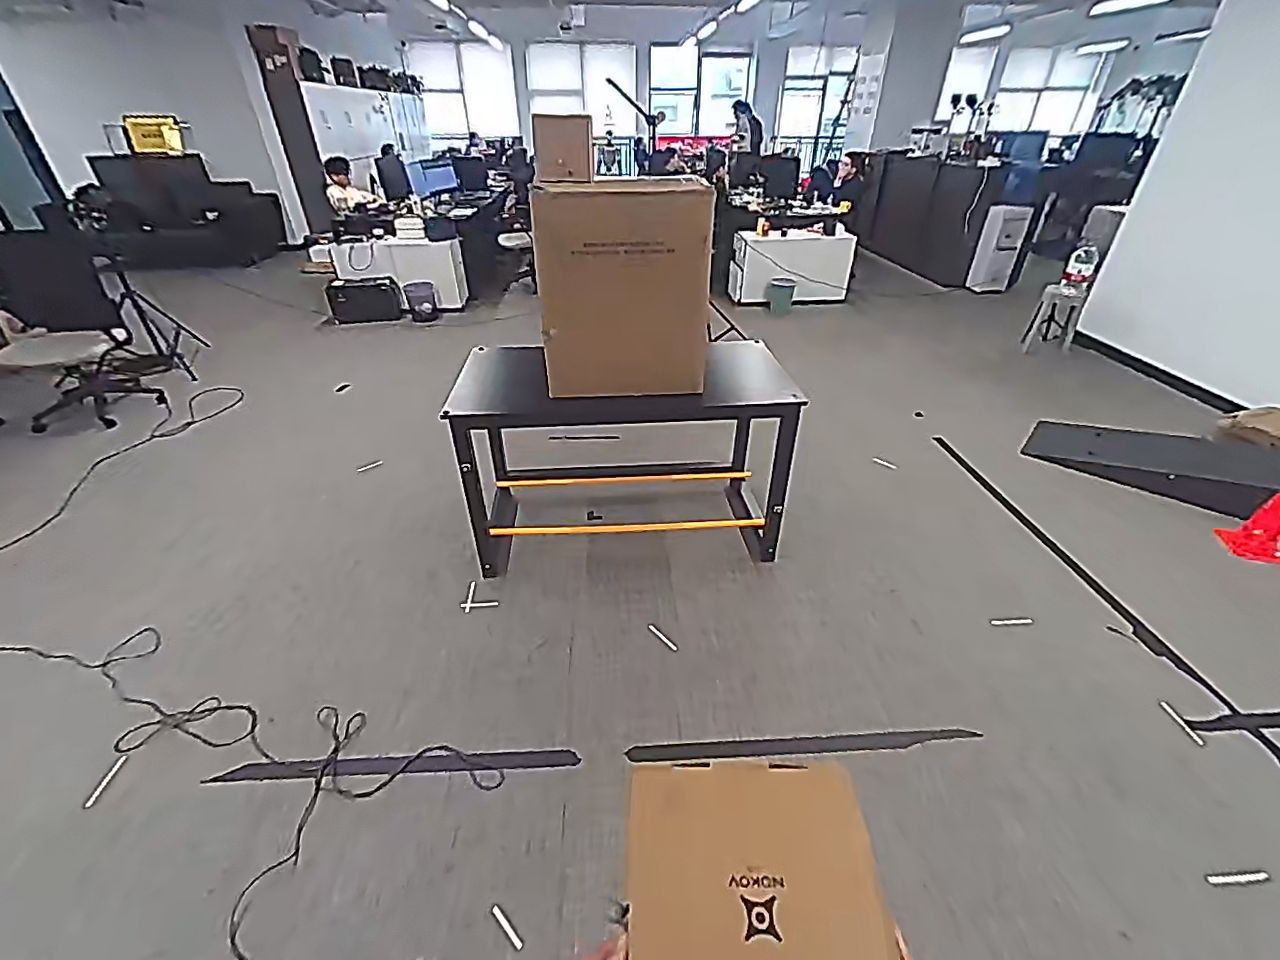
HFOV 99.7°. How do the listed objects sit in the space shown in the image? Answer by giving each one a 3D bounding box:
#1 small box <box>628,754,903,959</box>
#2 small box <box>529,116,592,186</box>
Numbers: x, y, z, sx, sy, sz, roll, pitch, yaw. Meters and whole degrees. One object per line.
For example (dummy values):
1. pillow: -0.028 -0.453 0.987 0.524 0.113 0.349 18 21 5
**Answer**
1. small box: 0.076 0.328 0.401 0.168 0.176 0.179 1 42 -1
2. small box: -0.235 -0.996 1.635 0.168 0.176 0.179 -1 34 -1
